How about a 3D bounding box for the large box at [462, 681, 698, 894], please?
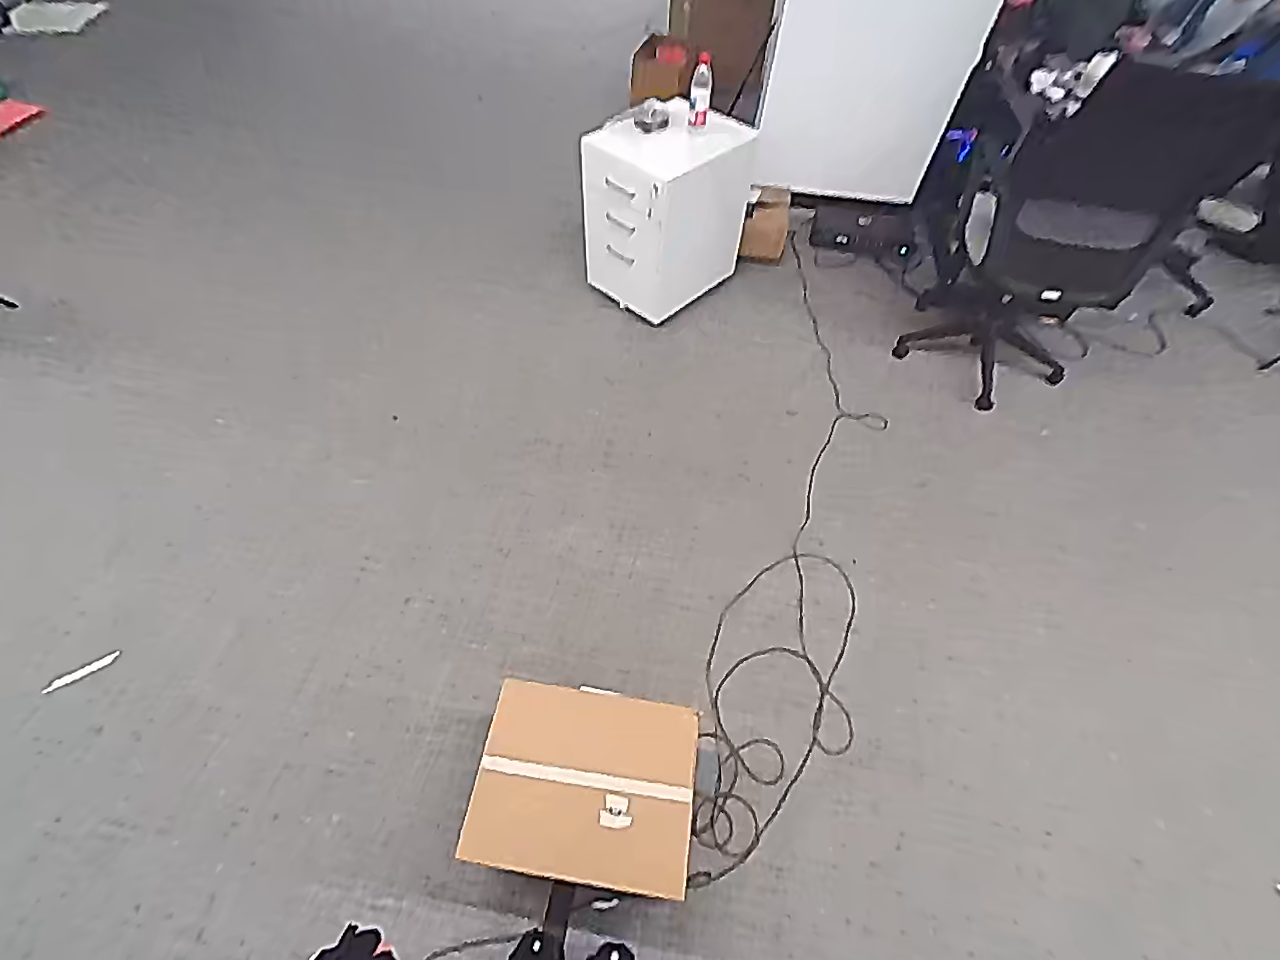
[{"bbox_3d":[-0.105,0.649,1.143,0.408,0.320,0.320,8,55,3],"label":"large box"}]
